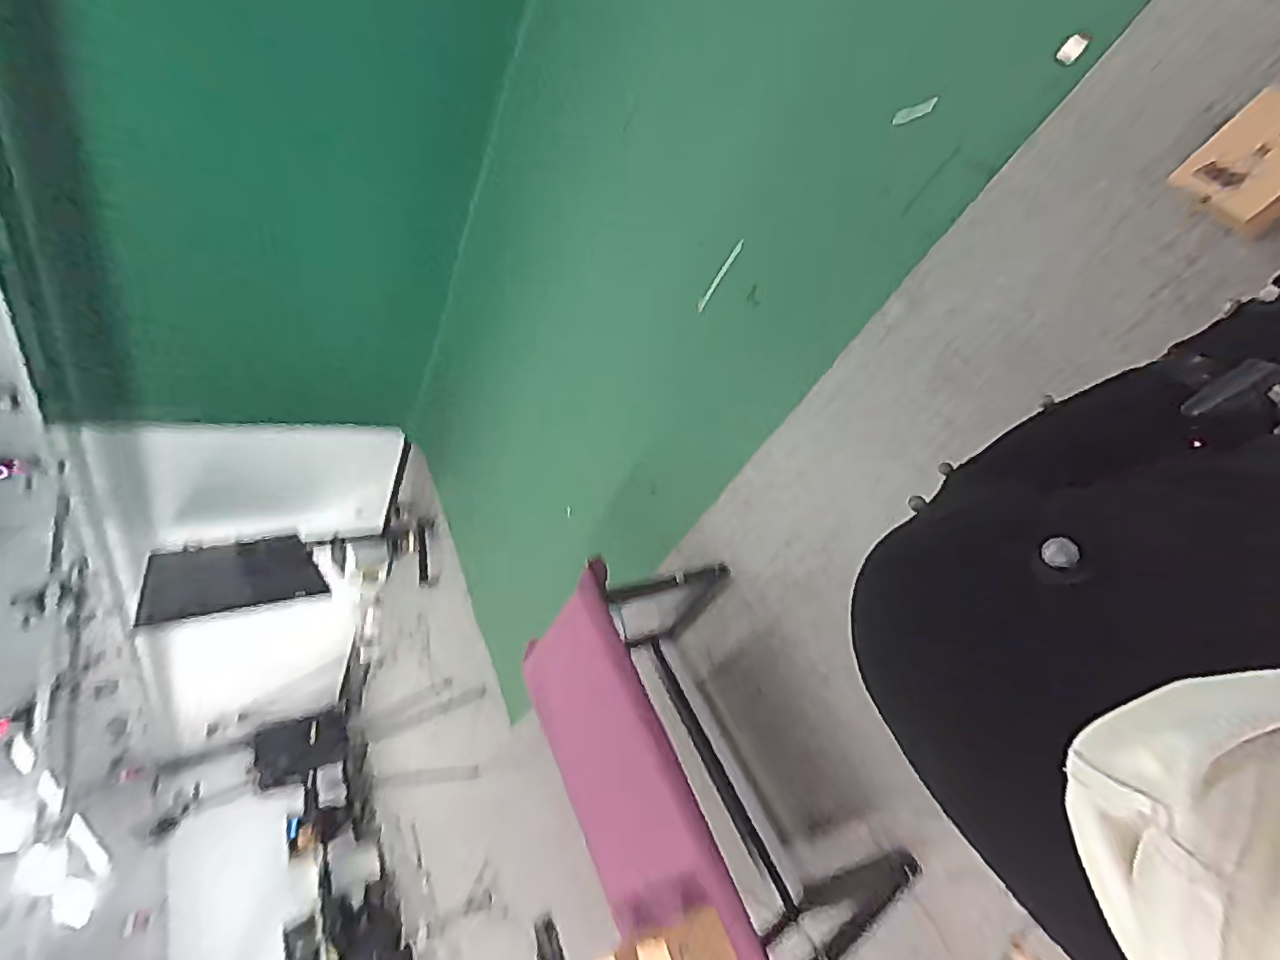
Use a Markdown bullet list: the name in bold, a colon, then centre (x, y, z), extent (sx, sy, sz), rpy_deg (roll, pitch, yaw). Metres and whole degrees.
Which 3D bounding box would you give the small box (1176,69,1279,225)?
- **small box**: centre (1.181, -0.612, 1.014), extent (0.179, 0.176, 0.168), rpy_deg (-53, 55, 39)

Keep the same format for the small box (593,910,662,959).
- **small box**: centre (0.001, 1.360, 1.514), extent (0.179, 0.176, 0.168), rpy_deg (57, 133, 31)

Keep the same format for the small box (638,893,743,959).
- **small box**: centre (0.130, 1.171, 1.335), extent (0.179, 0.176, 0.168), rpy_deg (61, 136, 29)
